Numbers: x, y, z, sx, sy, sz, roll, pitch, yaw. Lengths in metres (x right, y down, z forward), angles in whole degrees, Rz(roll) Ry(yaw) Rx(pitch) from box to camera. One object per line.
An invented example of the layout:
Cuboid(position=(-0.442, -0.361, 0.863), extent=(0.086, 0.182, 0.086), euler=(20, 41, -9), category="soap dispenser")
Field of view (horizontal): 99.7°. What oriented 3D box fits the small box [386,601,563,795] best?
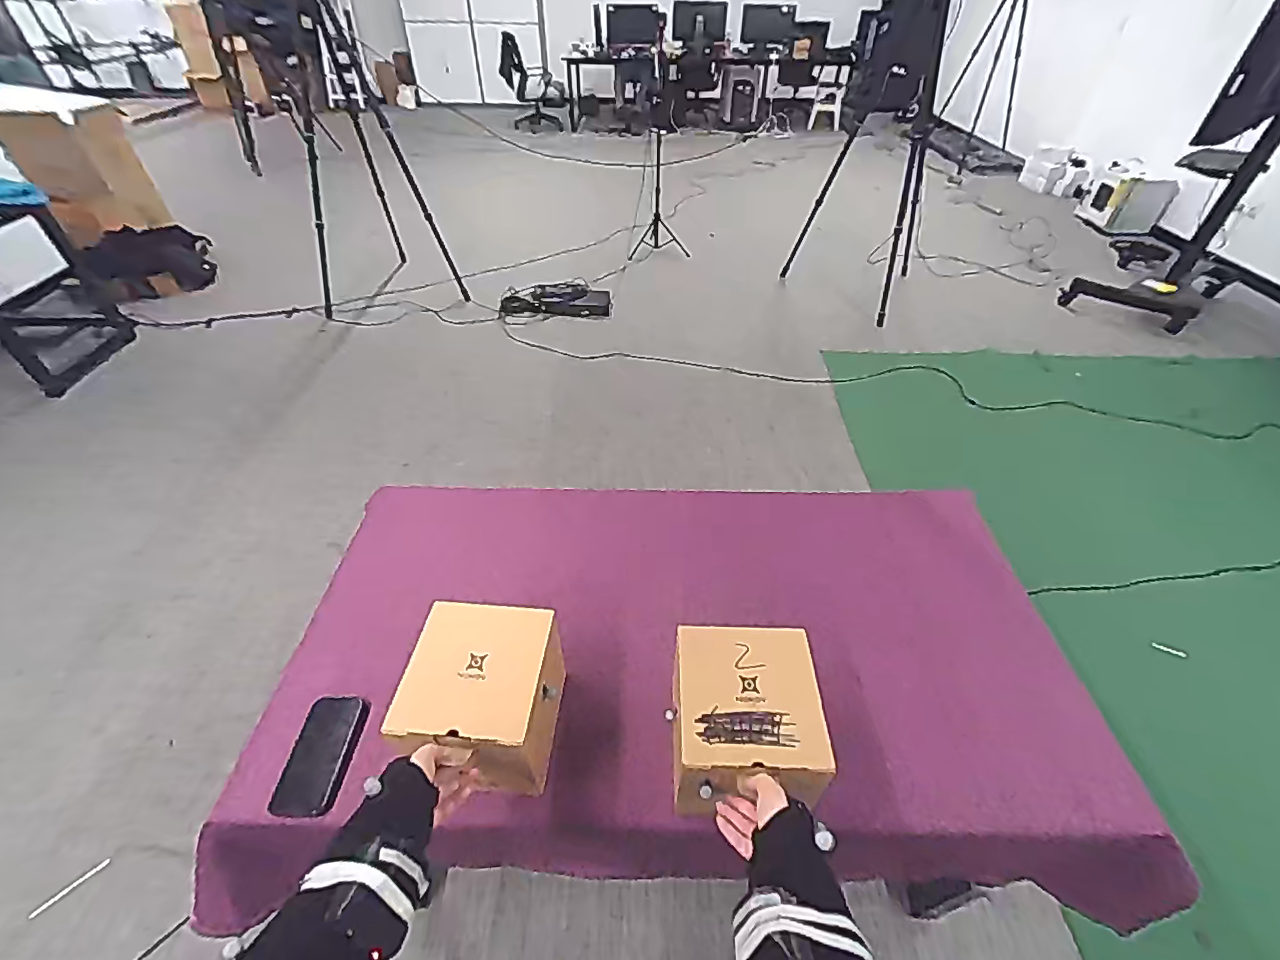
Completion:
Cuboid(position=(-0.199, 0.286, 0.713), extent=(0.168, 0.176, 0.179), euler=(5, 44, 3), category="small box")
